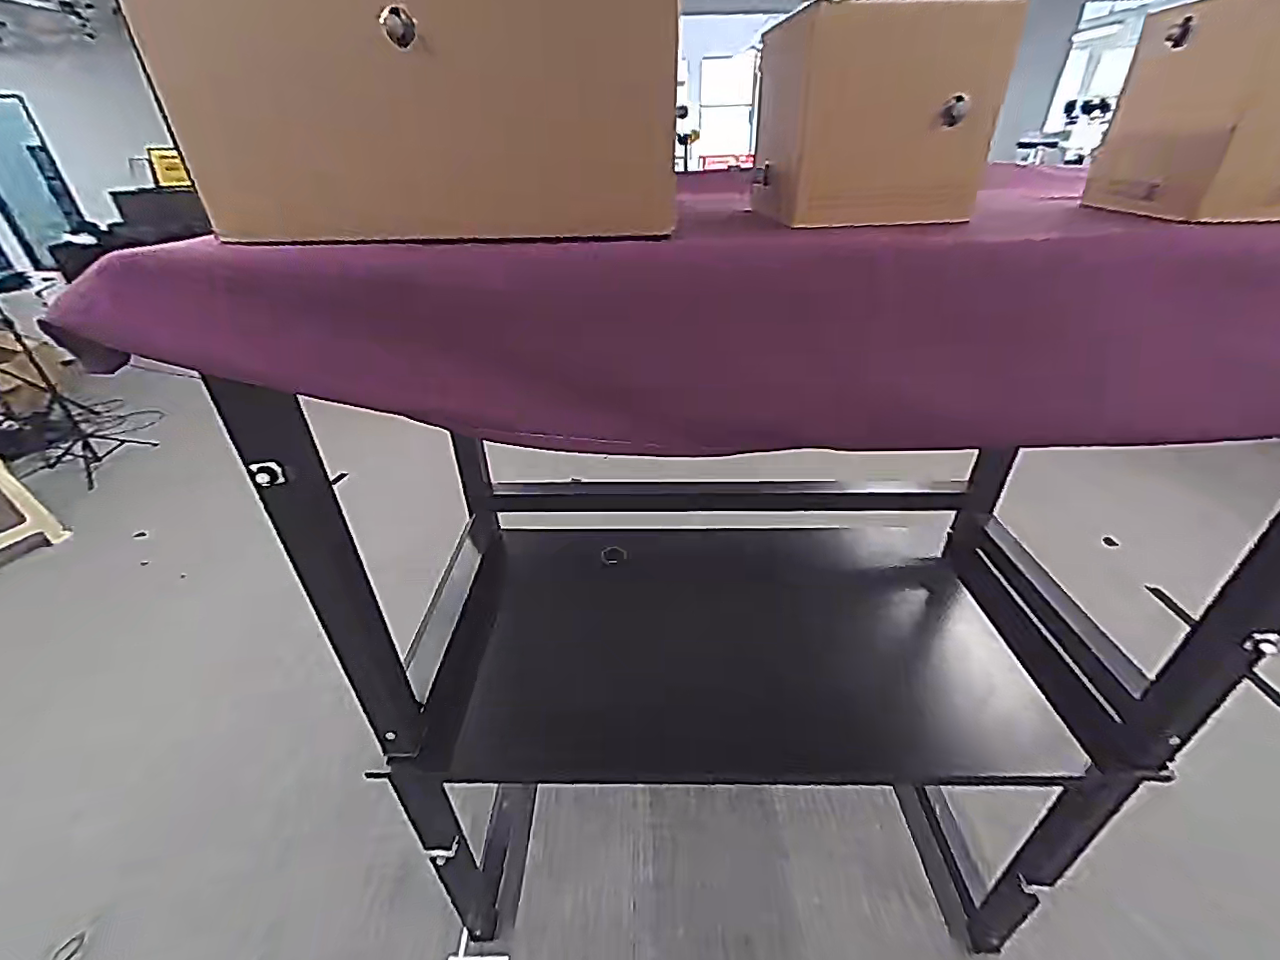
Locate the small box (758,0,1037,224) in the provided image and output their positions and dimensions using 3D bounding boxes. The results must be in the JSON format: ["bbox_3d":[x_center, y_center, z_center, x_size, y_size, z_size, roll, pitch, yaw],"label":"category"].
[{"bbox_3d":[0.225,-0.355,0.529,0.179,0.176,0.168,-4,31,-2],"label":"small box"}]

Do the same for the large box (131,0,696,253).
[{"bbox_3d":[-0.161,-0.412,0.512,0.408,0.320,0.320,-1,32,2],"label":"large box"}]

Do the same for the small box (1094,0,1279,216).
[{"bbox_3d":[0.571,-0.339,0.481,0.179,0.176,0.168,1,31,5],"label":"small box"}]
